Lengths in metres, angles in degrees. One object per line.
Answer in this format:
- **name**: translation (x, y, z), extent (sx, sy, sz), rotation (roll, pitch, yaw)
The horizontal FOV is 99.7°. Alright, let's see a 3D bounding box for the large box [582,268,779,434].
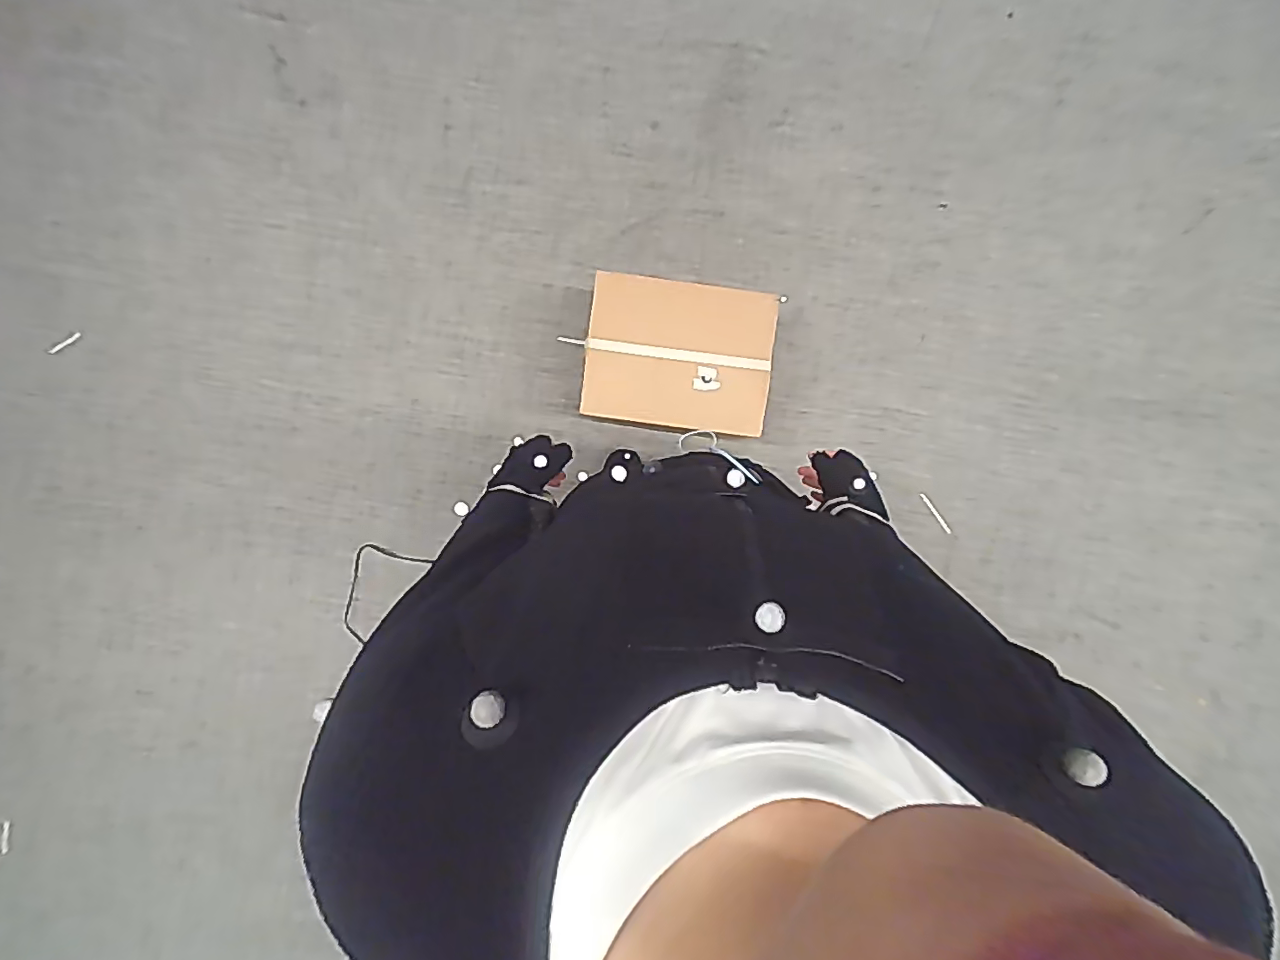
- **large box**: translation (0.082, -0.290, 1.318), extent (0.408, 0.320, 0.320), rotation (8, 94, -1)
